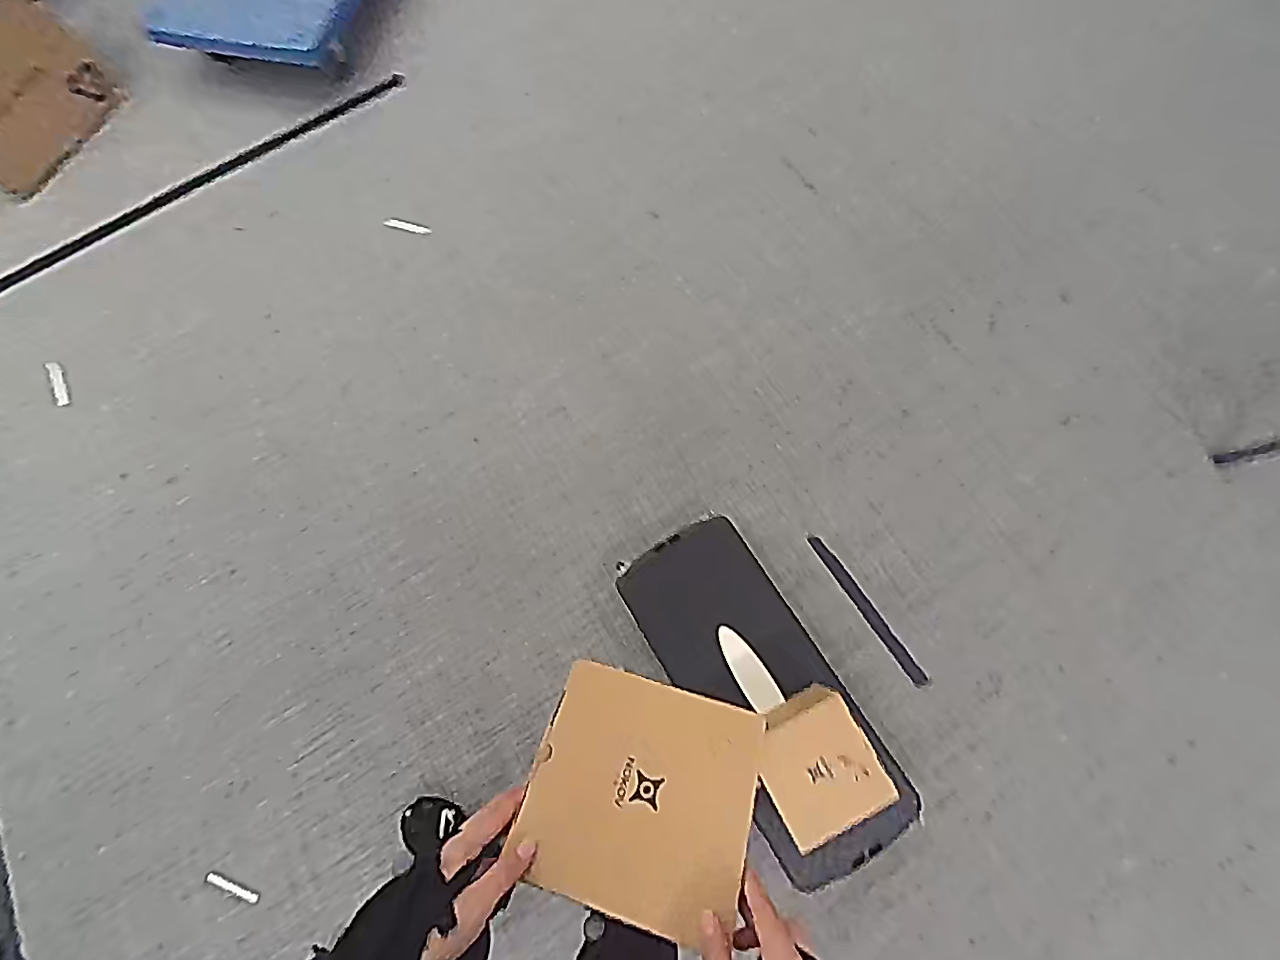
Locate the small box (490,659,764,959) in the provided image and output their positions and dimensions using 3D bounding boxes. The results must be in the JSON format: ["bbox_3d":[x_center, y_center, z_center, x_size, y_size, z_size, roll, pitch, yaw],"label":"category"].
[{"bbox_3d":[-0.002,0.288,0.481,0.179,0.176,0.168,13,53,11],"label":"small box"}]

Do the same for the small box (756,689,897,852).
[{"bbox_3d":[0.282,0.470,0.904,0.179,0.176,0.168,-27,74,-4],"label":"small box"}]
